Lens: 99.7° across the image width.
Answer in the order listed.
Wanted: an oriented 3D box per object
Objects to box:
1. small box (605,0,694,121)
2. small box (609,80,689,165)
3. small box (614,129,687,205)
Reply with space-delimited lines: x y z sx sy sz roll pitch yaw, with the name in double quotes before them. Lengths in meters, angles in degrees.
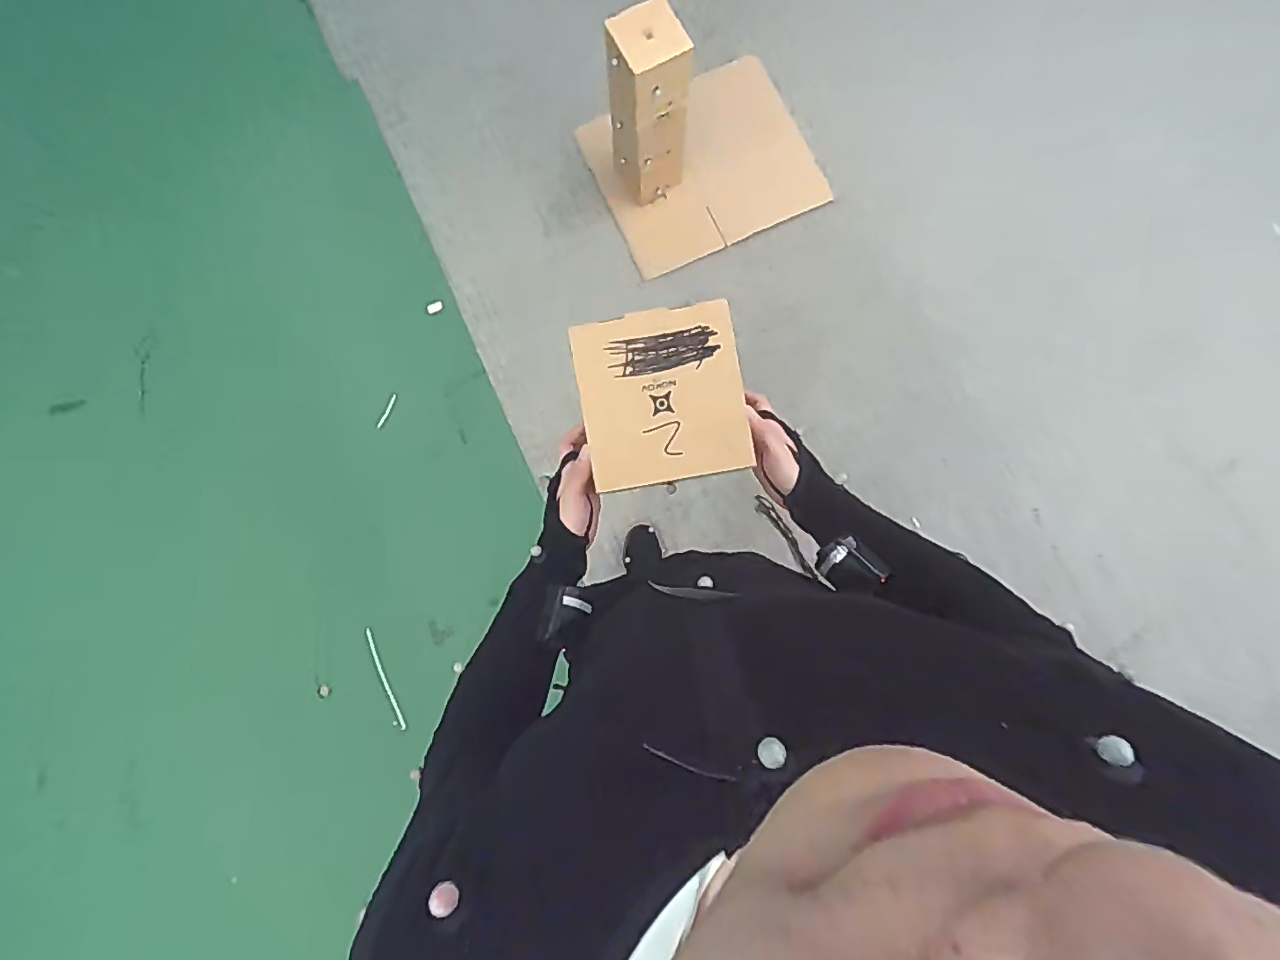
"small box" 0.027 -1.075 1.398 0.168 0.176 0.179 -28 82 -2
"small box" 0.028 -1.049 1.558 0.168 0.176 0.179 -28 81 -2
"small box" 0.032 -1.025 1.719 0.168 0.176 0.179 -32 83 -3
